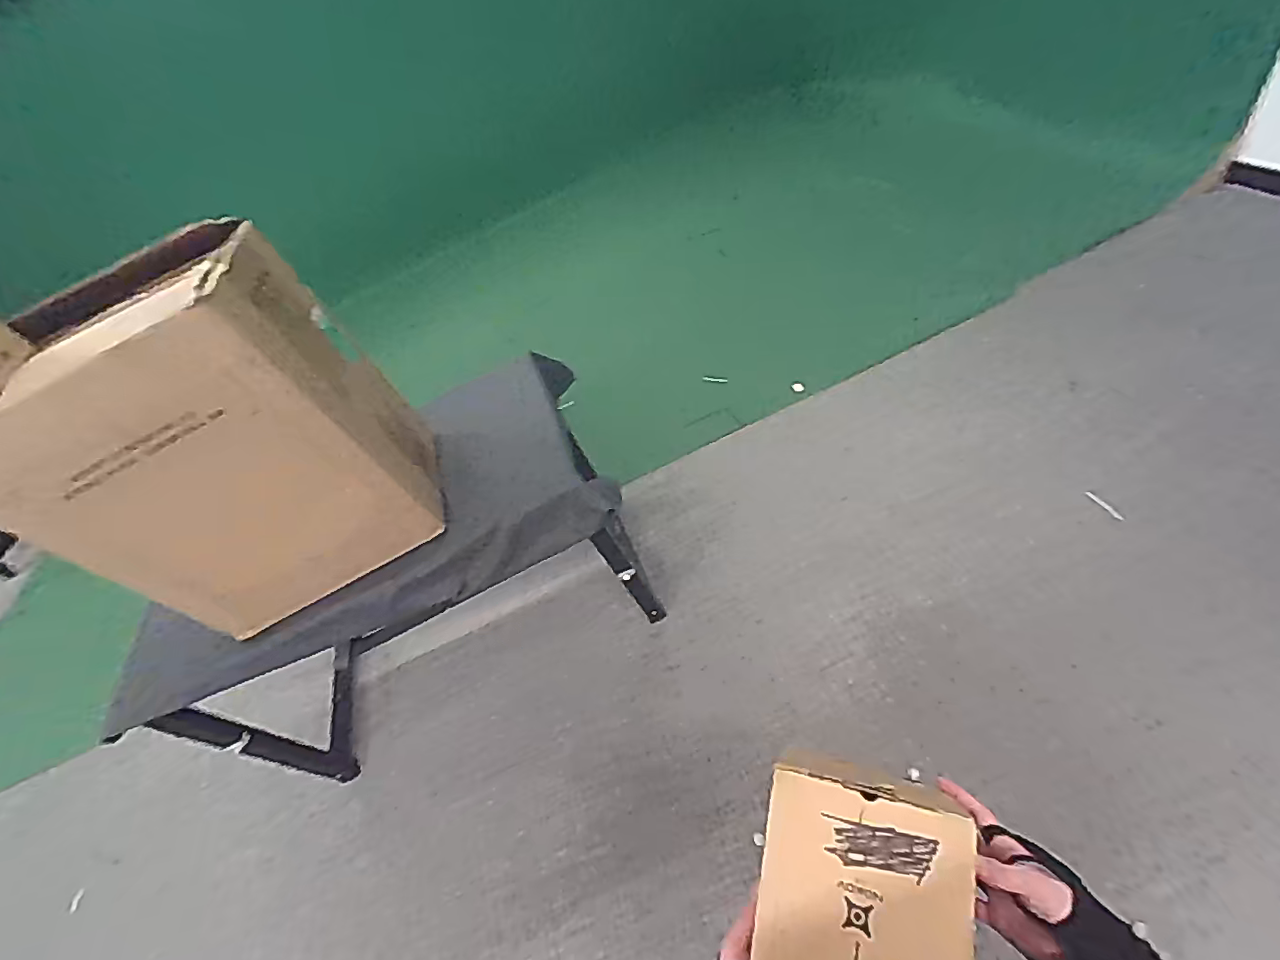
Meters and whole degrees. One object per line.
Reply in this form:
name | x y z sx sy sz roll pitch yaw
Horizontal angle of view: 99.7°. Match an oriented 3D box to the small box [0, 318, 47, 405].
small box | -1.074 -0.172 0.805 0.179 0.176 0.168 -29 47 1
